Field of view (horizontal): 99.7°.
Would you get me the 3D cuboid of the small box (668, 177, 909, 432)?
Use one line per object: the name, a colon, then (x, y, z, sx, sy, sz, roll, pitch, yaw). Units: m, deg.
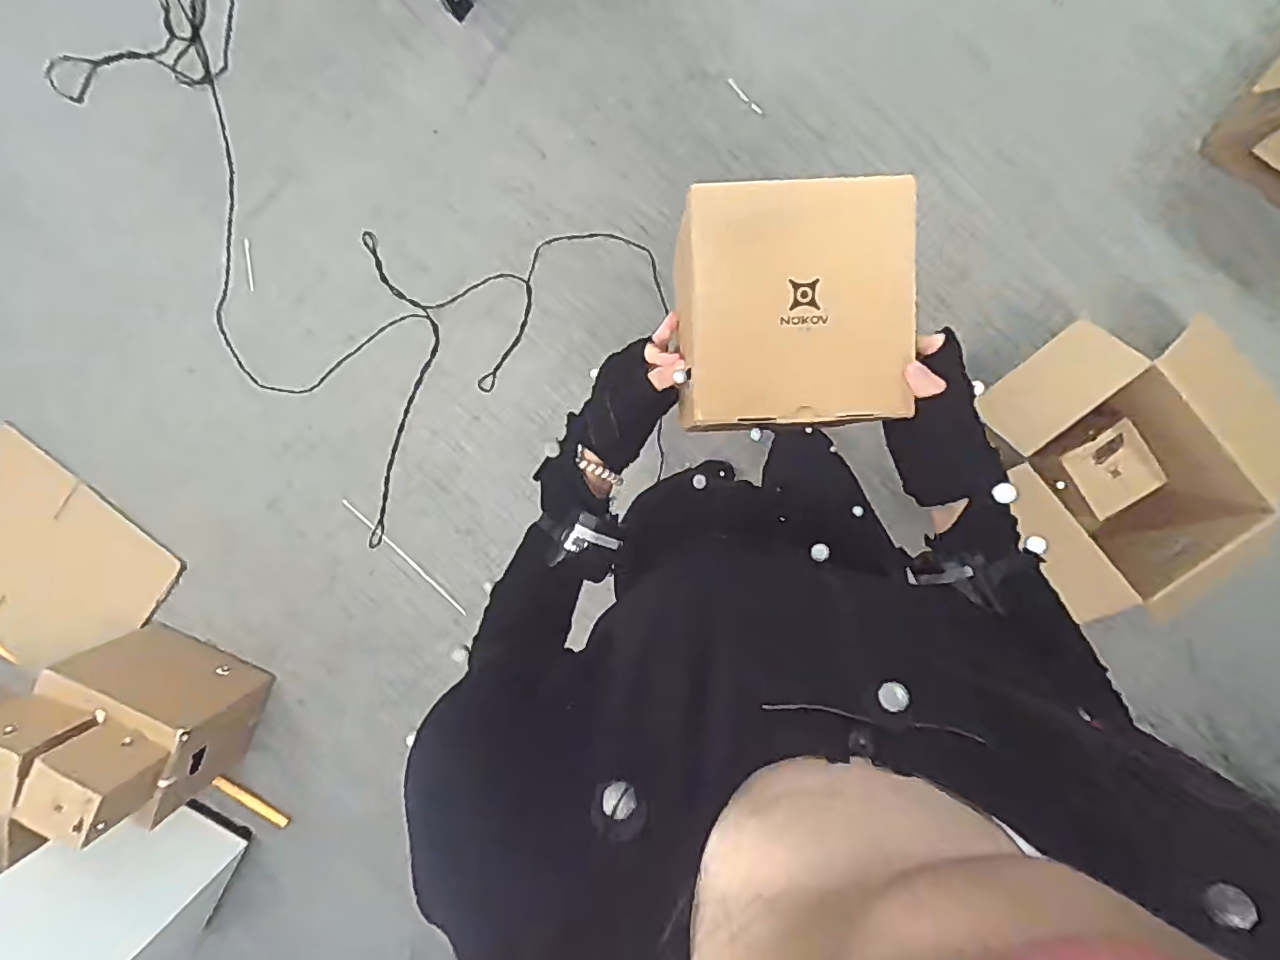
small box: (0.114, -0.136, 0.478, 0.168, 0.176, 0.179, -3, 94, 0)
